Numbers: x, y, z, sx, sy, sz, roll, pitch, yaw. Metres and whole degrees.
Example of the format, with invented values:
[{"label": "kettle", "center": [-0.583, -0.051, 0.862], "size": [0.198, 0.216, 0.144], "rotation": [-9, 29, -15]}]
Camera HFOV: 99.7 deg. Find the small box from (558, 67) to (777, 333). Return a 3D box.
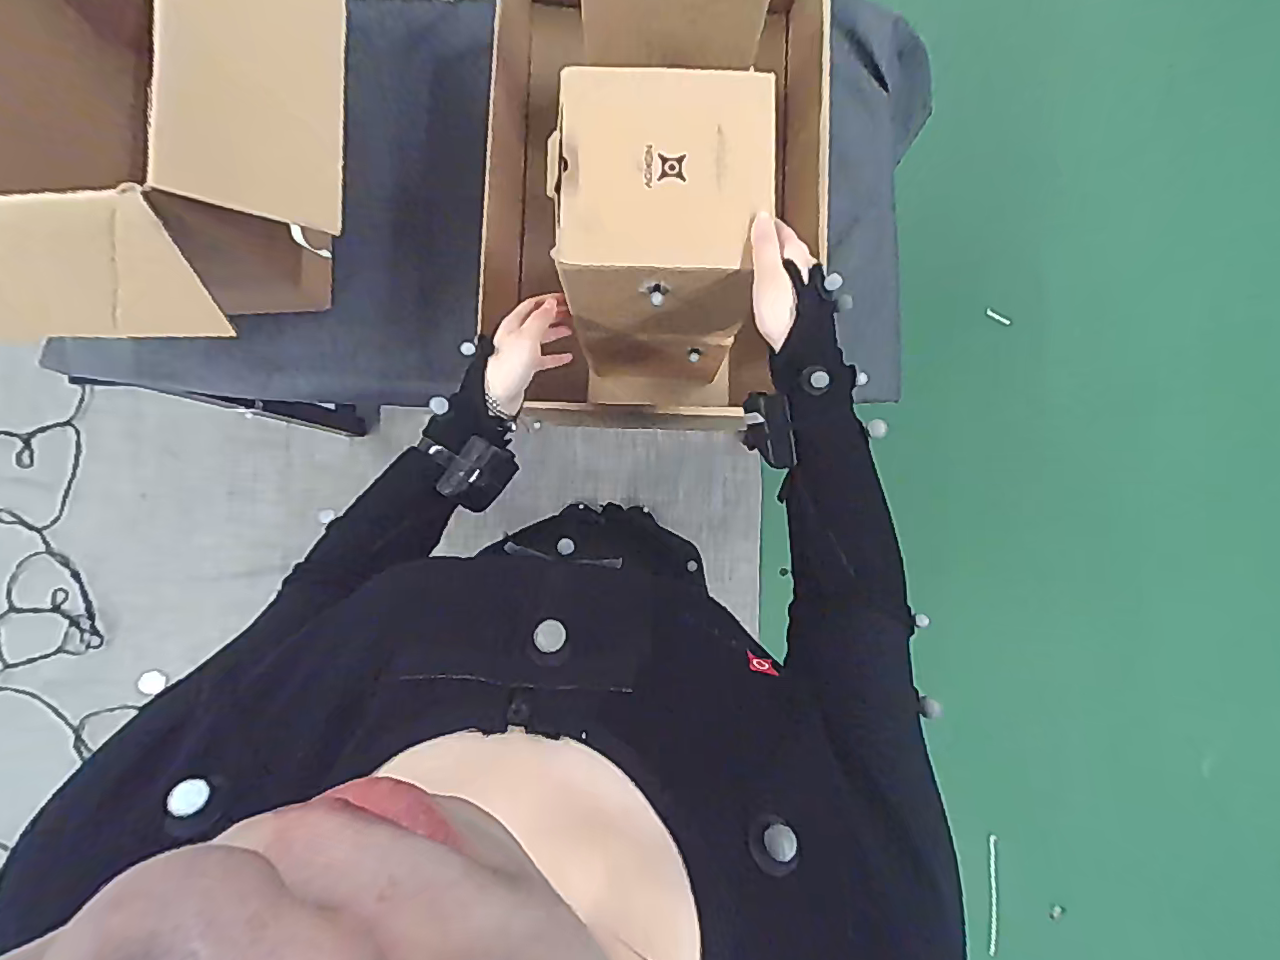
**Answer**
[{"label": "small box", "center": [0.022, -0.245, 0.514], "size": [0.179, 0.176, 0.168], "rotation": [1, 88, -1]}]
